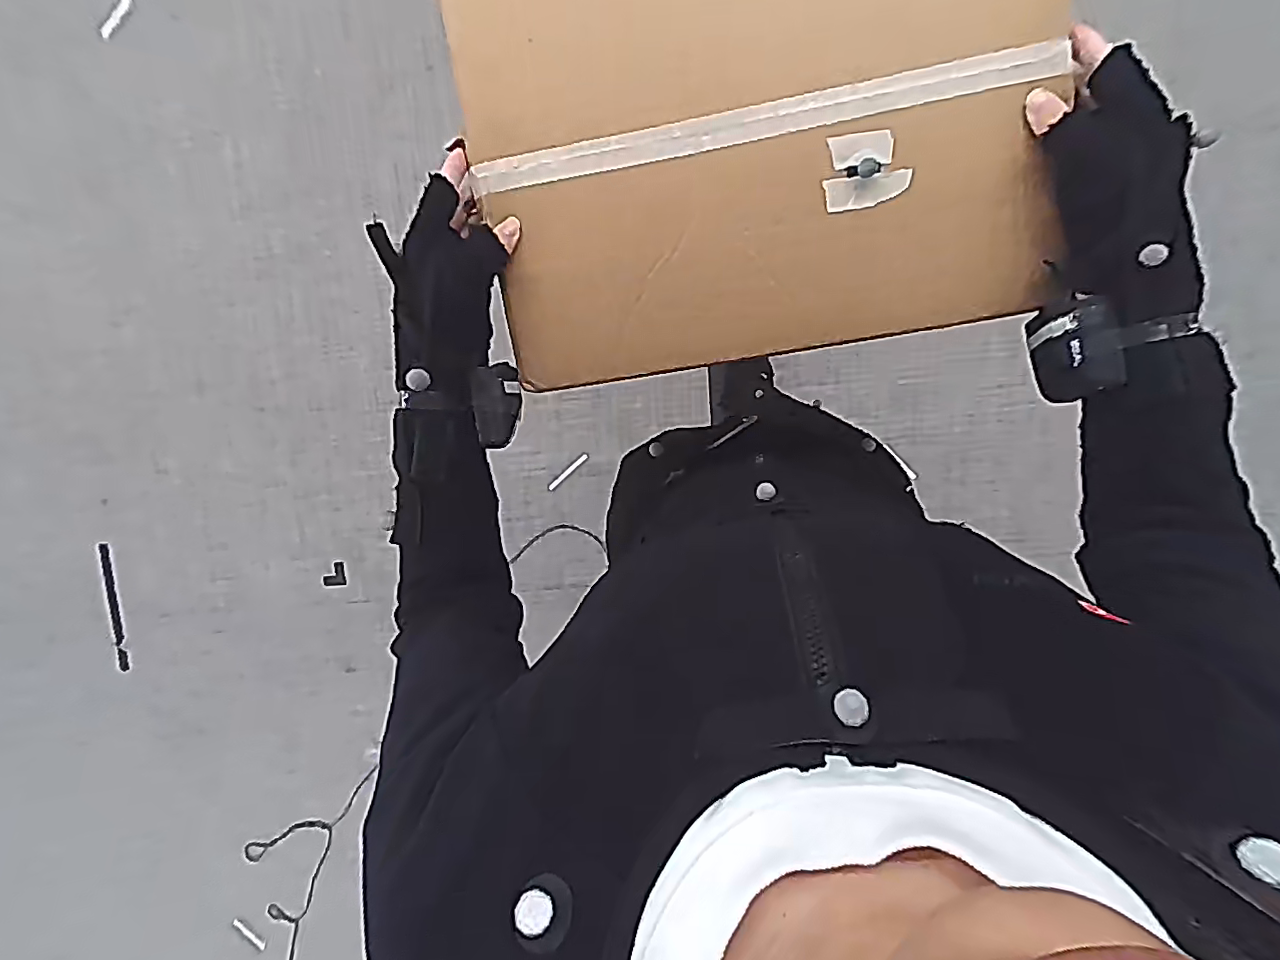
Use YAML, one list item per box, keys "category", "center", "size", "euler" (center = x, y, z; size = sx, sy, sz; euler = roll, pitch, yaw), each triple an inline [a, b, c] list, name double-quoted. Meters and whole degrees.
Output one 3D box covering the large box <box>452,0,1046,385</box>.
- category: "large box"
  center: [0.089, -0.286, 0.535]
  size: [0.408, 0.320, 0.320]
  euler: [-9, 103, 5]
